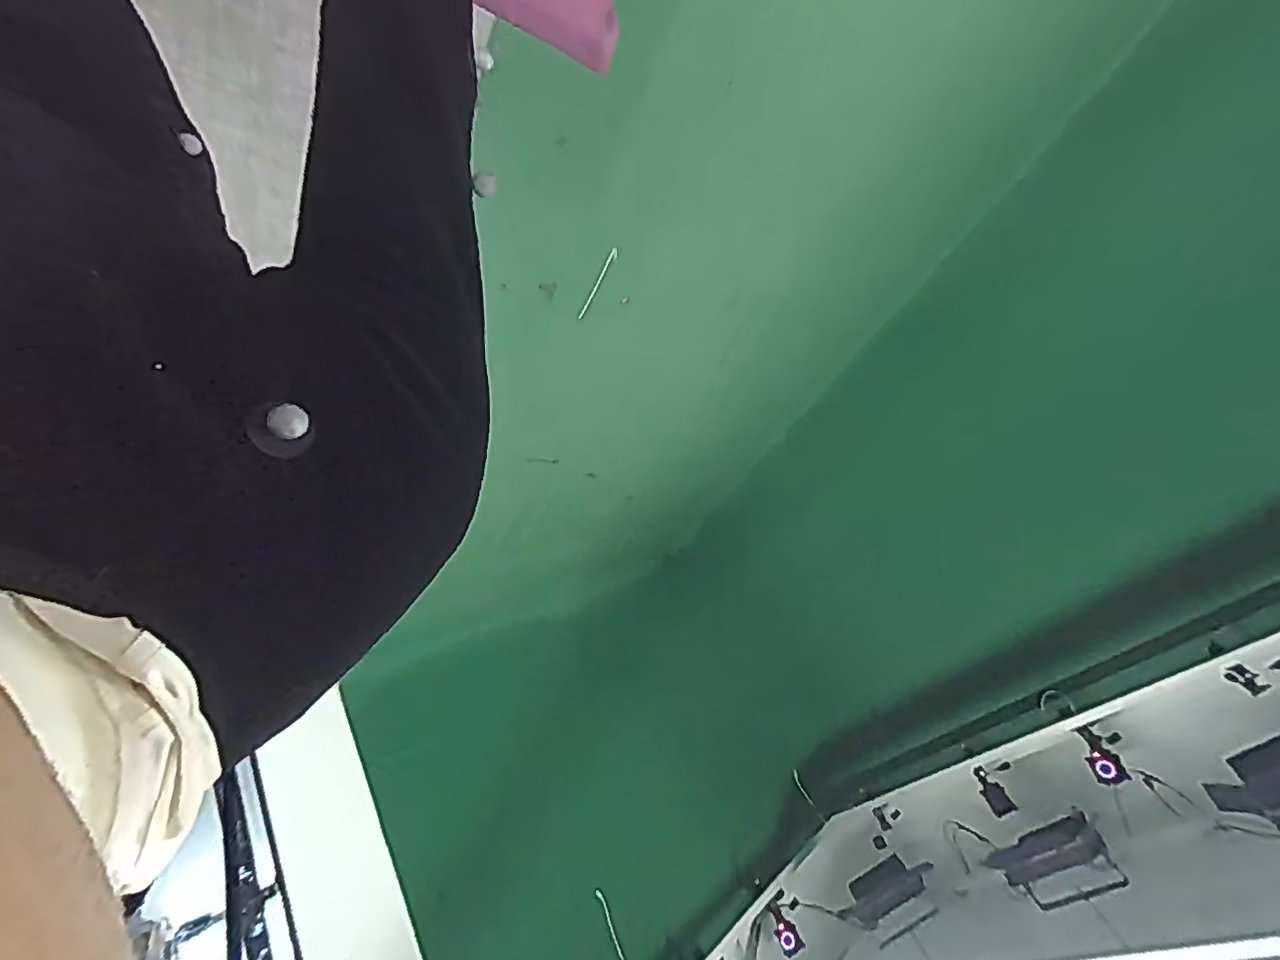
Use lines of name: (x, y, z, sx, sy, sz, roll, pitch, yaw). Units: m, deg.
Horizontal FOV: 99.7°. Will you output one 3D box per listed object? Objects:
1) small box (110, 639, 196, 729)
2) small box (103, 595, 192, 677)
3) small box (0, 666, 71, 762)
small box: (-1.439, 0.596, 1.594, 0.168, 0.176, 0.179, 0, 139, -50)
small box: (-1.521, 0.475, 1.669, 0.179, 0.176, 0.168, -1, 139, -50)
small box: (-1.599, 0.599, 1.394, 0.168, 0.176, 0.179, -1, 141, -49)
